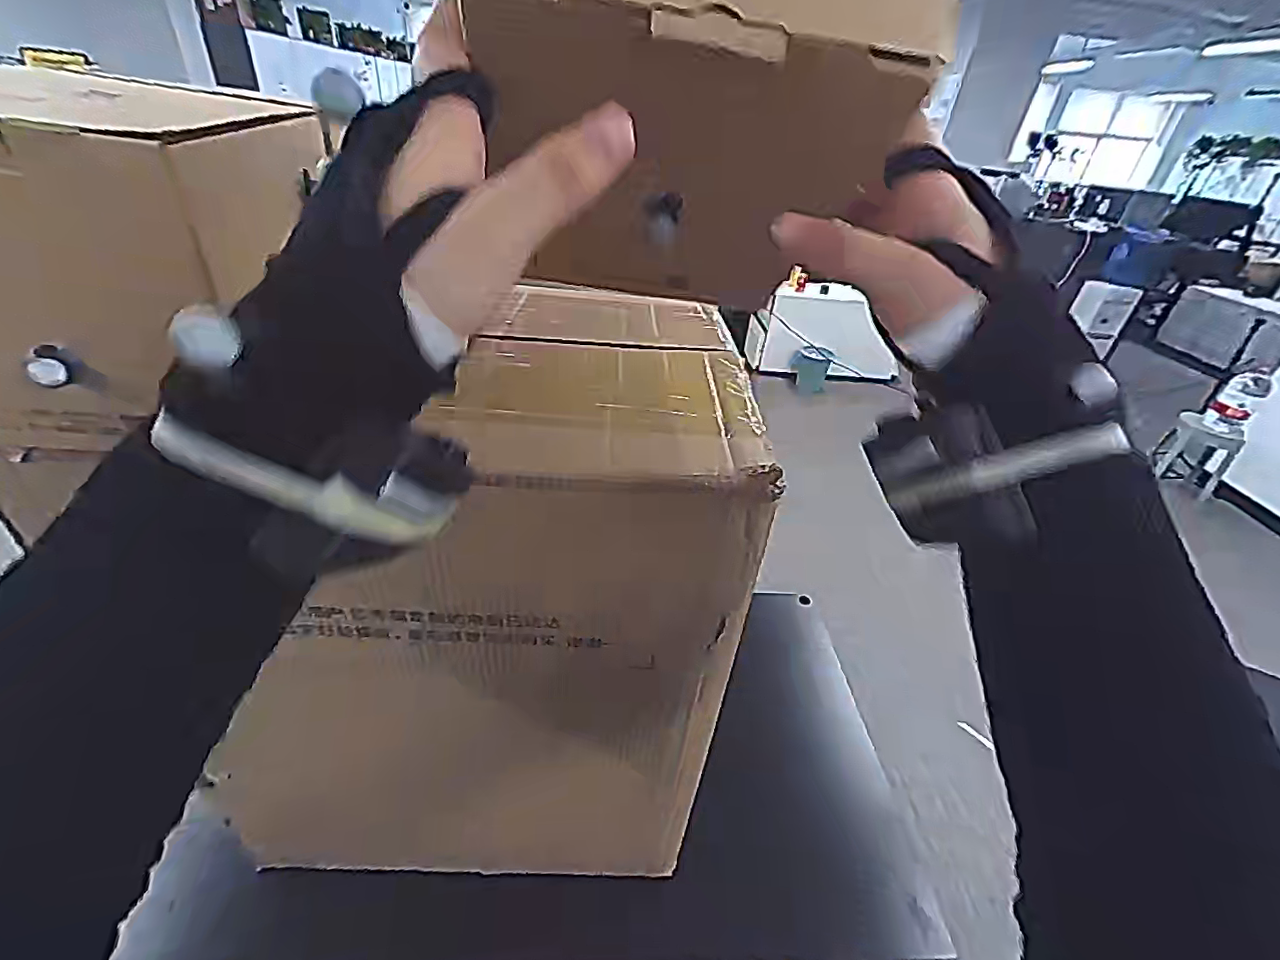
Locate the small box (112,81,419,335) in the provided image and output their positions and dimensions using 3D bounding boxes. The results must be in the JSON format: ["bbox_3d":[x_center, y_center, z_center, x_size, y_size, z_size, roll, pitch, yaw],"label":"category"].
[{"bbox_3d":[-0.314,-0.235,0.478,0.179,0.176,0.168,5,33,-5],"label":"small box"}]

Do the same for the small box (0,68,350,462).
[{"bbox_3d":[-0.297,-0.132,0.329,0.168,0.176,0.179,3,37,-9],"label":"small box"}]

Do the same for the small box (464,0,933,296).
[{"bbox_3d":[0.015,-0.218,0.276,0.168,0.176,0.179,4,77,-9],"label":"small box"}]
